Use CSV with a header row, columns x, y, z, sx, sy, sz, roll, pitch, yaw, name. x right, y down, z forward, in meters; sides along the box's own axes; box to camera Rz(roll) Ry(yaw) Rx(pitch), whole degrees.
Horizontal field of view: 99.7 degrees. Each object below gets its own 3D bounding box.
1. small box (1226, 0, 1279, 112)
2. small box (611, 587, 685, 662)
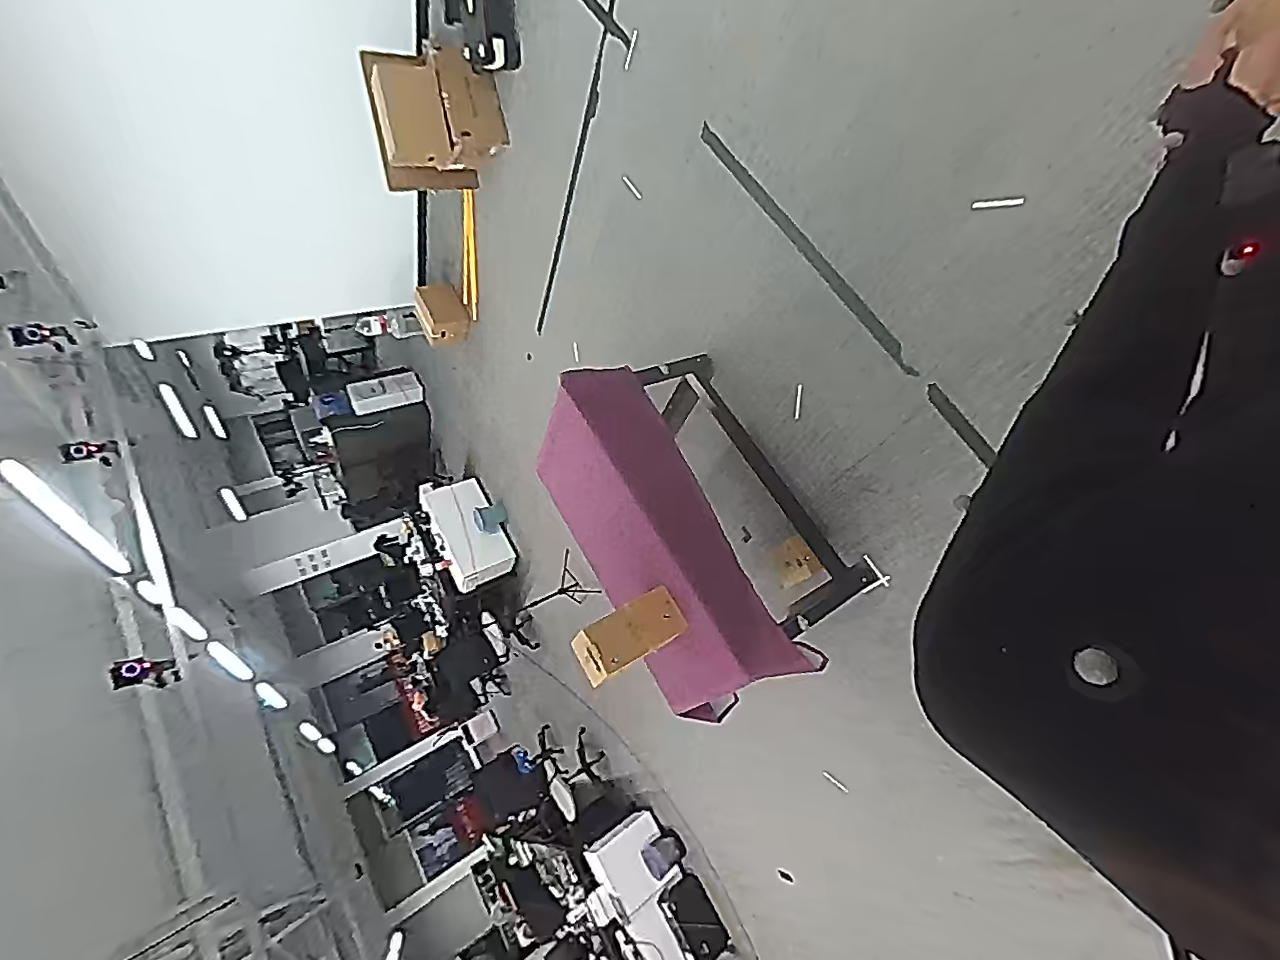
x,y,z,sx,sy,sz,roll,pitch,yaw,name
0.615,-0.439,0.452,0.168,0.176,0.179,1,115,48,small box
0.028,0.496,1.862,0.168,0.176,0.179,57,146,18,small box
